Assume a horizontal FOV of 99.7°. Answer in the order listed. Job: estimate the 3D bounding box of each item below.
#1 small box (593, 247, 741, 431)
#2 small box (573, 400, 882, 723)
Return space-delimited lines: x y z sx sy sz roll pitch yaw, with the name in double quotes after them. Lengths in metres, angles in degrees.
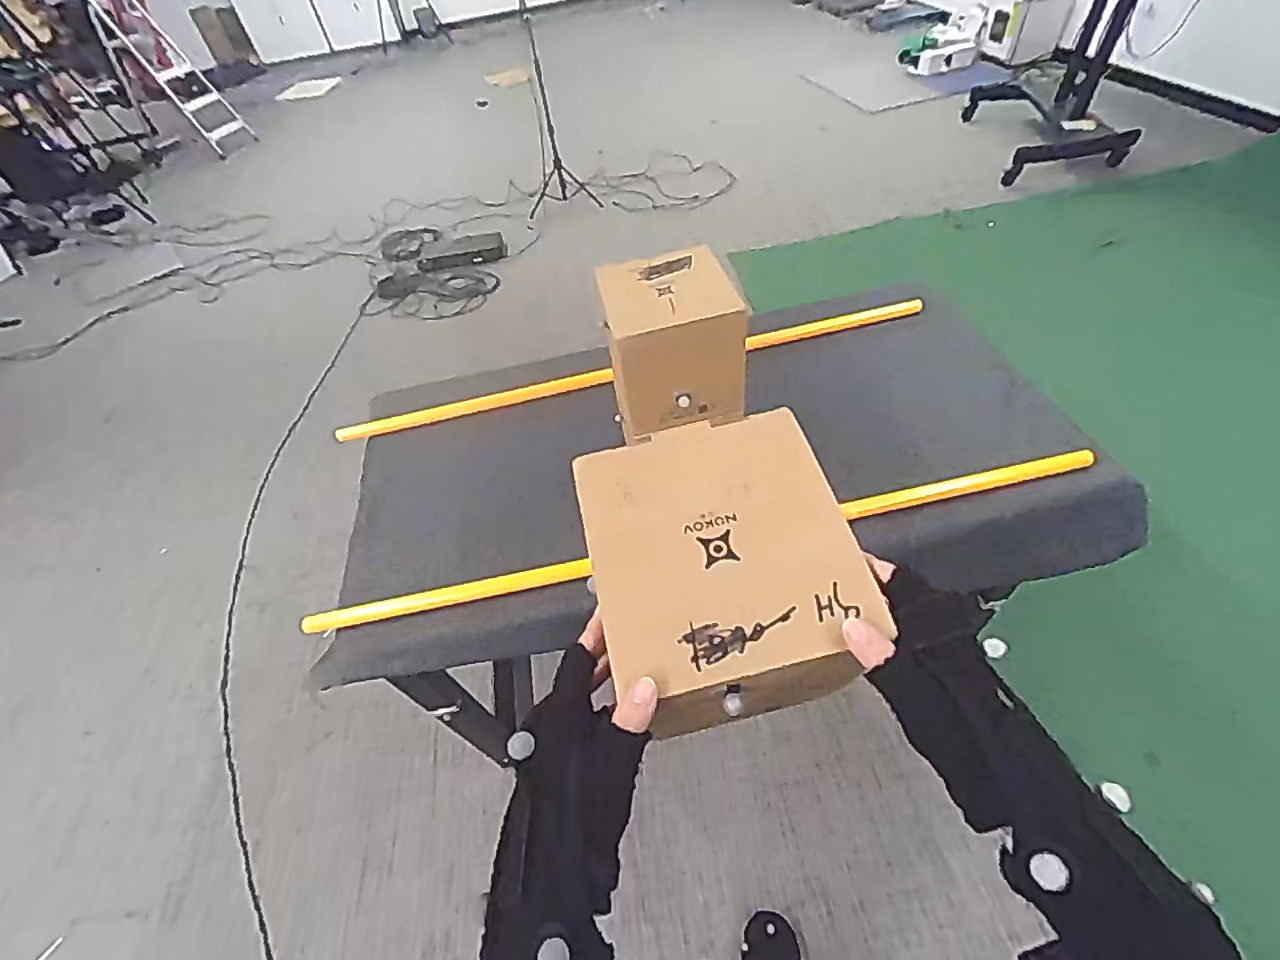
0.037 -0.197 0.767 0.168 0.176 0.179 -14 50 -2 "small box"
0.054 0.070 0.425 0.168 0.176 0.179 -15 57 -1 "small box"
